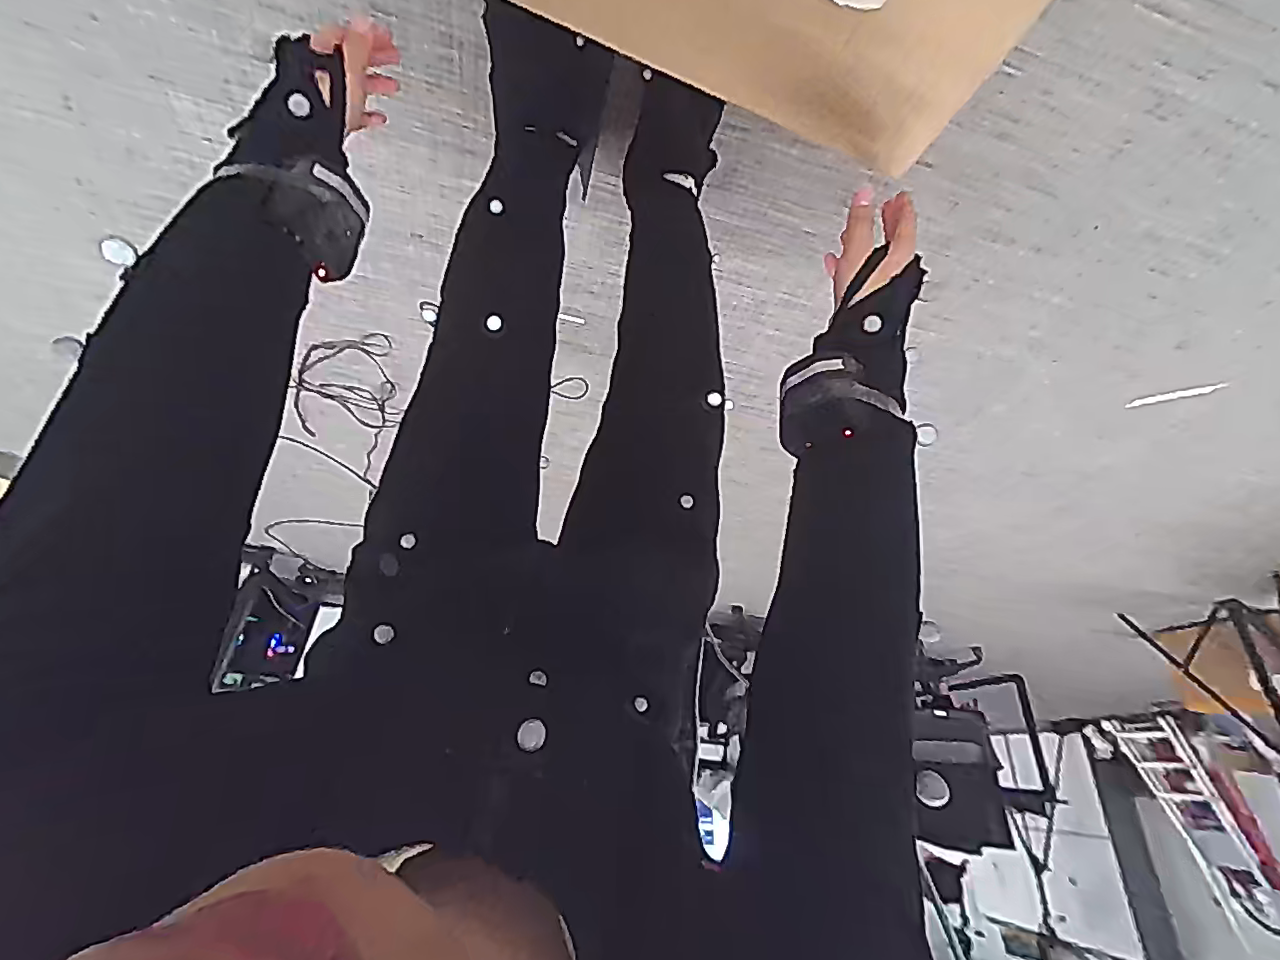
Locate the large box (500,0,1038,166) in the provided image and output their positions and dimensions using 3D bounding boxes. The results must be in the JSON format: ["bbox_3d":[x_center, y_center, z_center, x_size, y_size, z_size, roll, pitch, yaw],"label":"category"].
[{"bbox_3d":[0.107,-0.519,0.384,0.408,0.320,0.320,12,151,-16],"label":"large box"}]
